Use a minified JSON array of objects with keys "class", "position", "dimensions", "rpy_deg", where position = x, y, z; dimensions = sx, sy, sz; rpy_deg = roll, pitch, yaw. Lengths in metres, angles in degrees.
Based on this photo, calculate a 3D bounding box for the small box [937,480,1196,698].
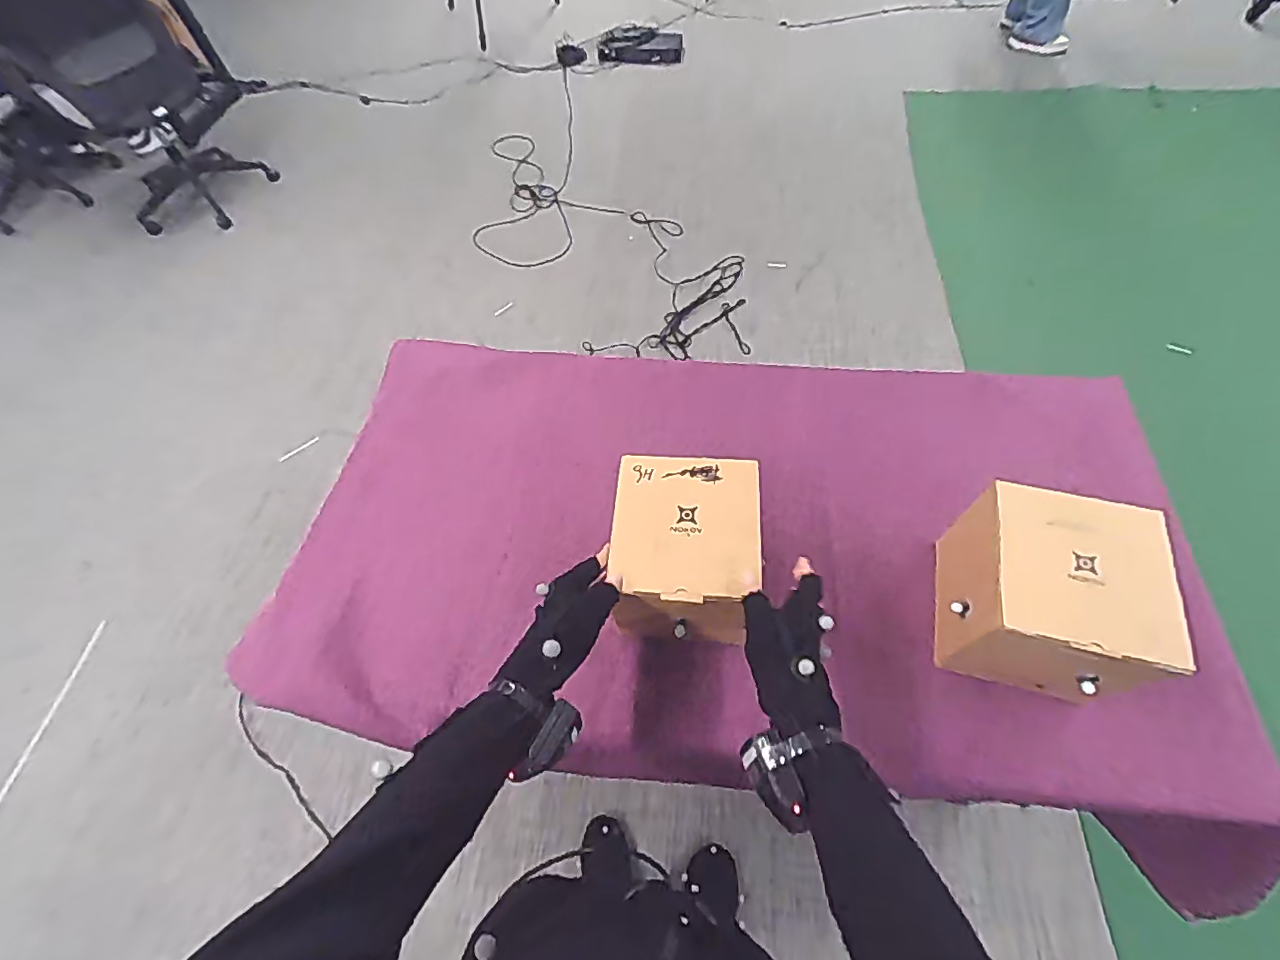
[{"class":"small box","position":[0.457,0.129,0.614],"dimensions":[0.168,0.176,0.179],"rpy_deg":[13,60,12]}]

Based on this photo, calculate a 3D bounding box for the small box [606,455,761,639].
[{"class":"small box","position":[0.059,0.089,0.671],"dimensions":[0.168,0.176,0.179],"rpy_deg":[3,60,6]}]
